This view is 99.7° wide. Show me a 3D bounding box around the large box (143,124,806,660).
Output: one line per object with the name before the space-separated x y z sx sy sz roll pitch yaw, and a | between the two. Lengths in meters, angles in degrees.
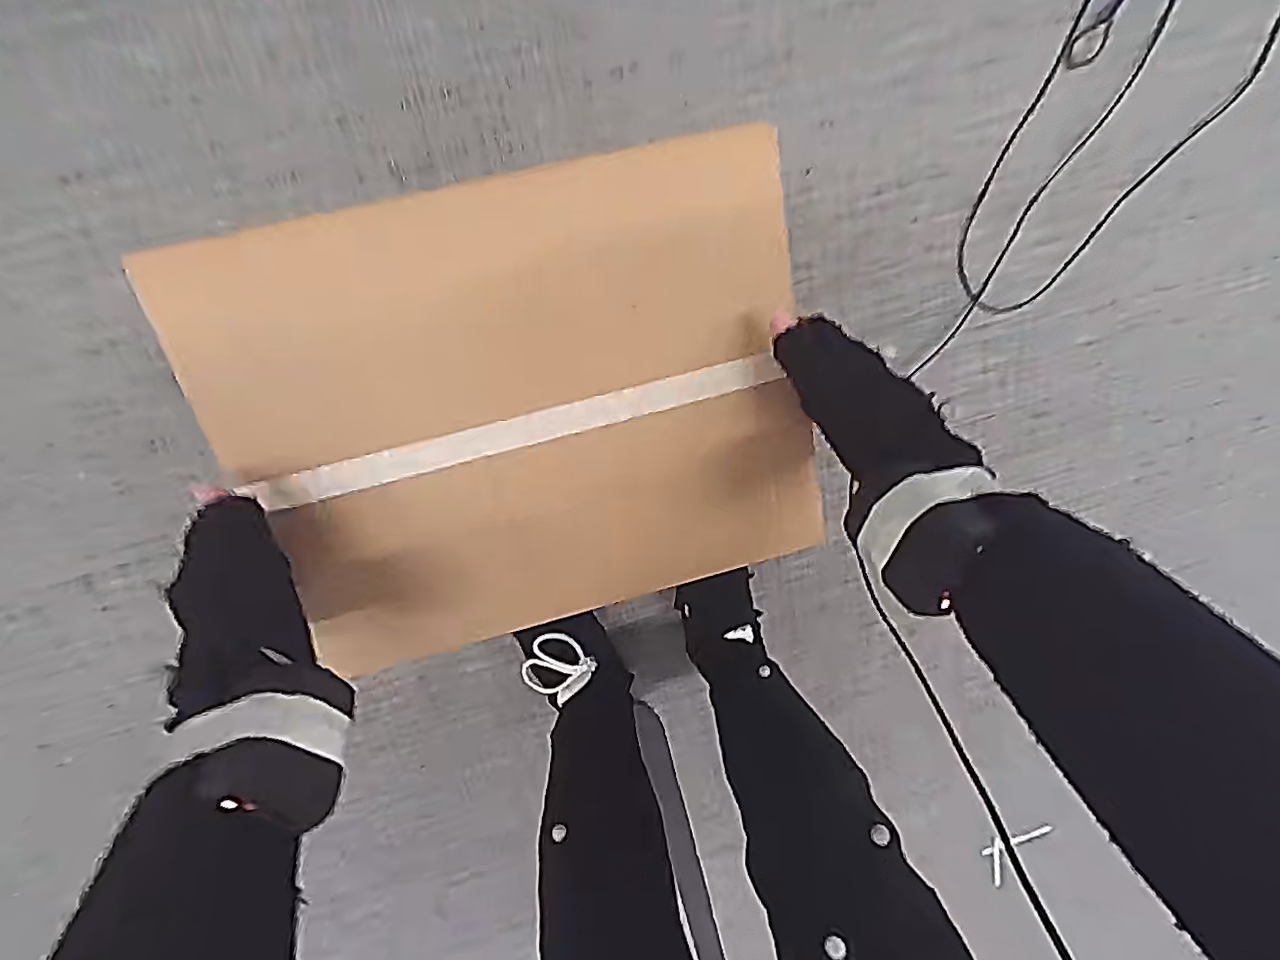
large box | -0.104 -0.093 0.531 0.408 0.320 0.320 -15 109 -5
